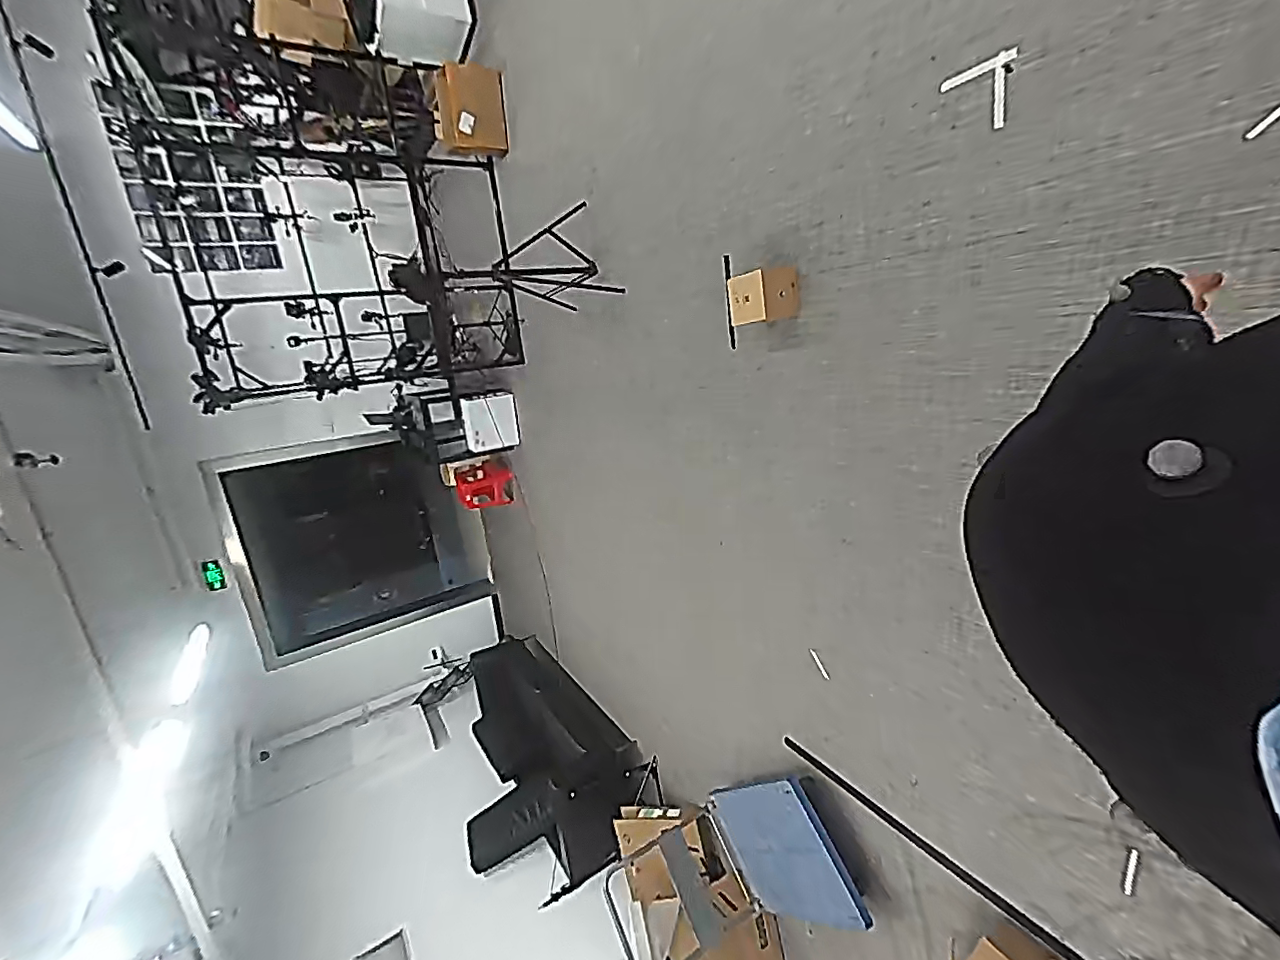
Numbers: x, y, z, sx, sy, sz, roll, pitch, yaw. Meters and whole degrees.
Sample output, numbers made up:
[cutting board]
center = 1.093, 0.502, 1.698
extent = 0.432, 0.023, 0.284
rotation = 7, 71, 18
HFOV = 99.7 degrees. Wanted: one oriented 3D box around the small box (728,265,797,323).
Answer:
[small box]
center = 0.438, -0.657, 1.912
extent = 0.179, 0.176, 0.168
rotation = 12, 113, 58
